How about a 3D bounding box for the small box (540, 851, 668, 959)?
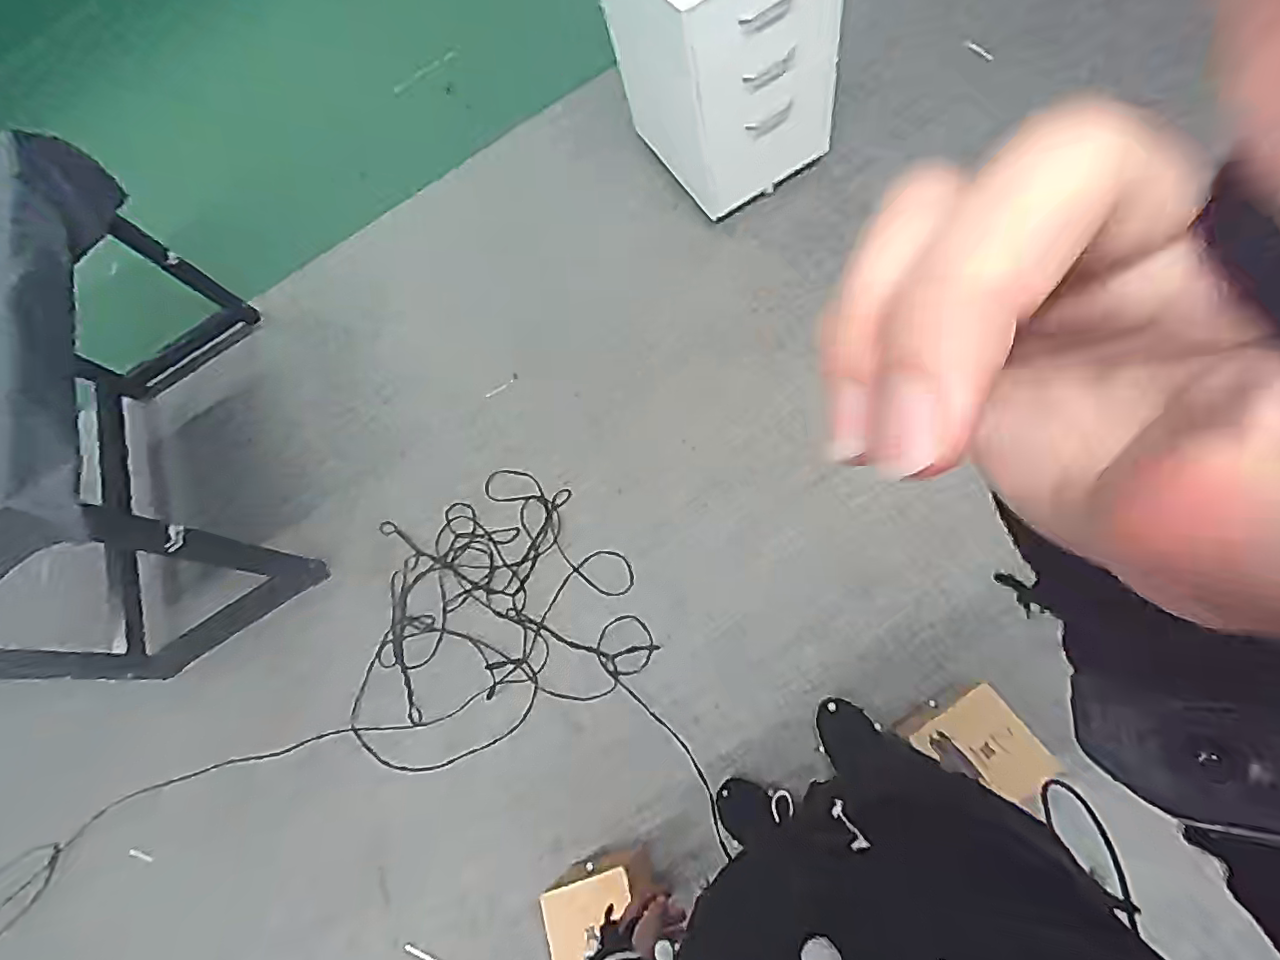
[{"bbox_3d":[-0.063,0.844,1.031,0.179,0.176,0.168,-22,65,5],"label":"small box"}]
